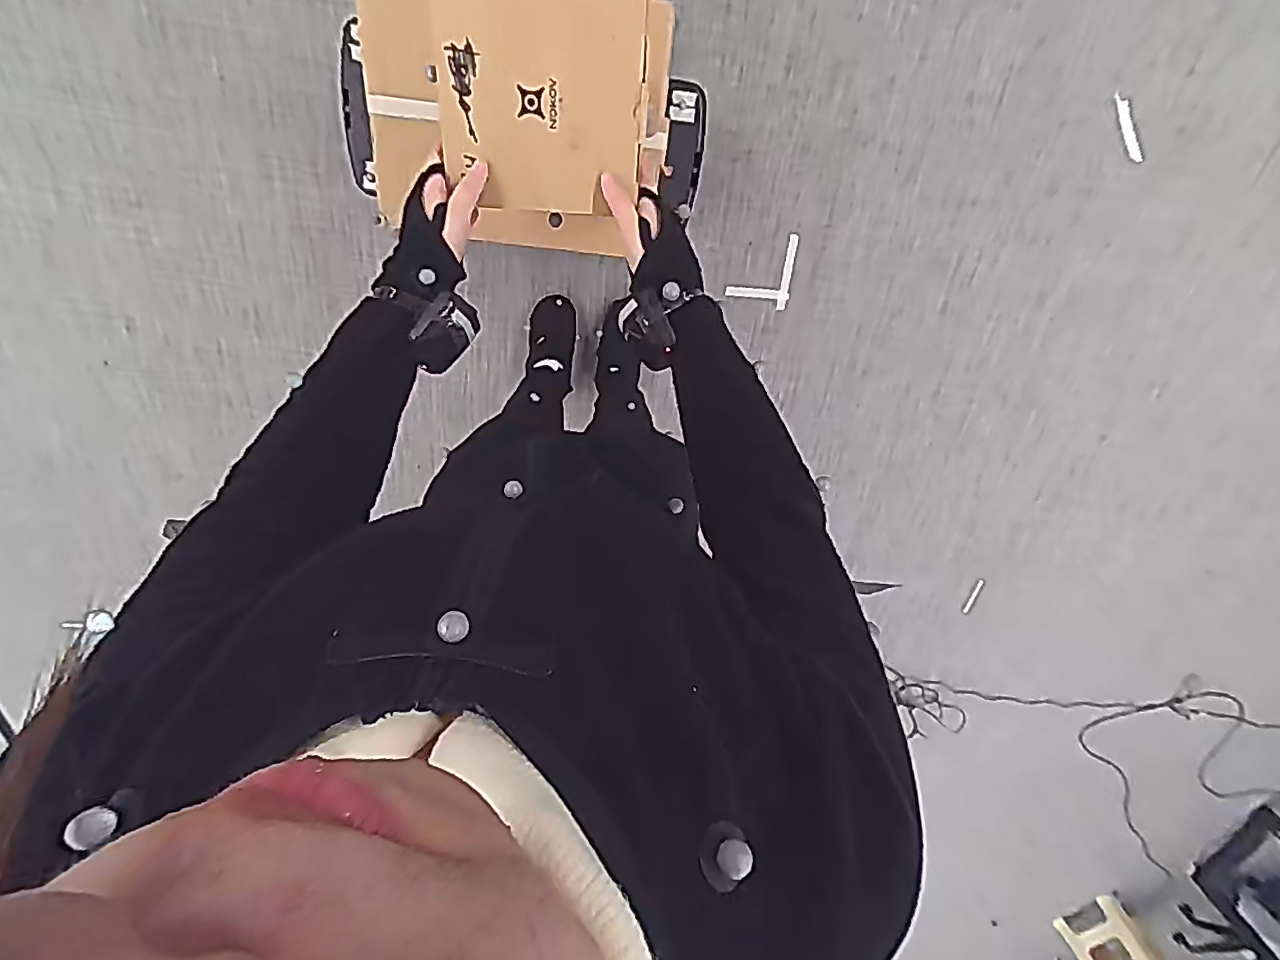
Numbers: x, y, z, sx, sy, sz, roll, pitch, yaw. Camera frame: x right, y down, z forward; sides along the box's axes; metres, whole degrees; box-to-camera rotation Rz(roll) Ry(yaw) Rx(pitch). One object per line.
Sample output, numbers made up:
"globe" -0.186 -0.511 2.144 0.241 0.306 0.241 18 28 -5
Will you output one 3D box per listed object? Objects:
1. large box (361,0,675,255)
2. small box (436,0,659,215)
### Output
"large box" -0.167 -0.563 0.873 0.408 0.320 0.320 5 117 -4
"small box" -0.082 -0.357 0.523 0.179 0.176 0.168 3 116 -5
